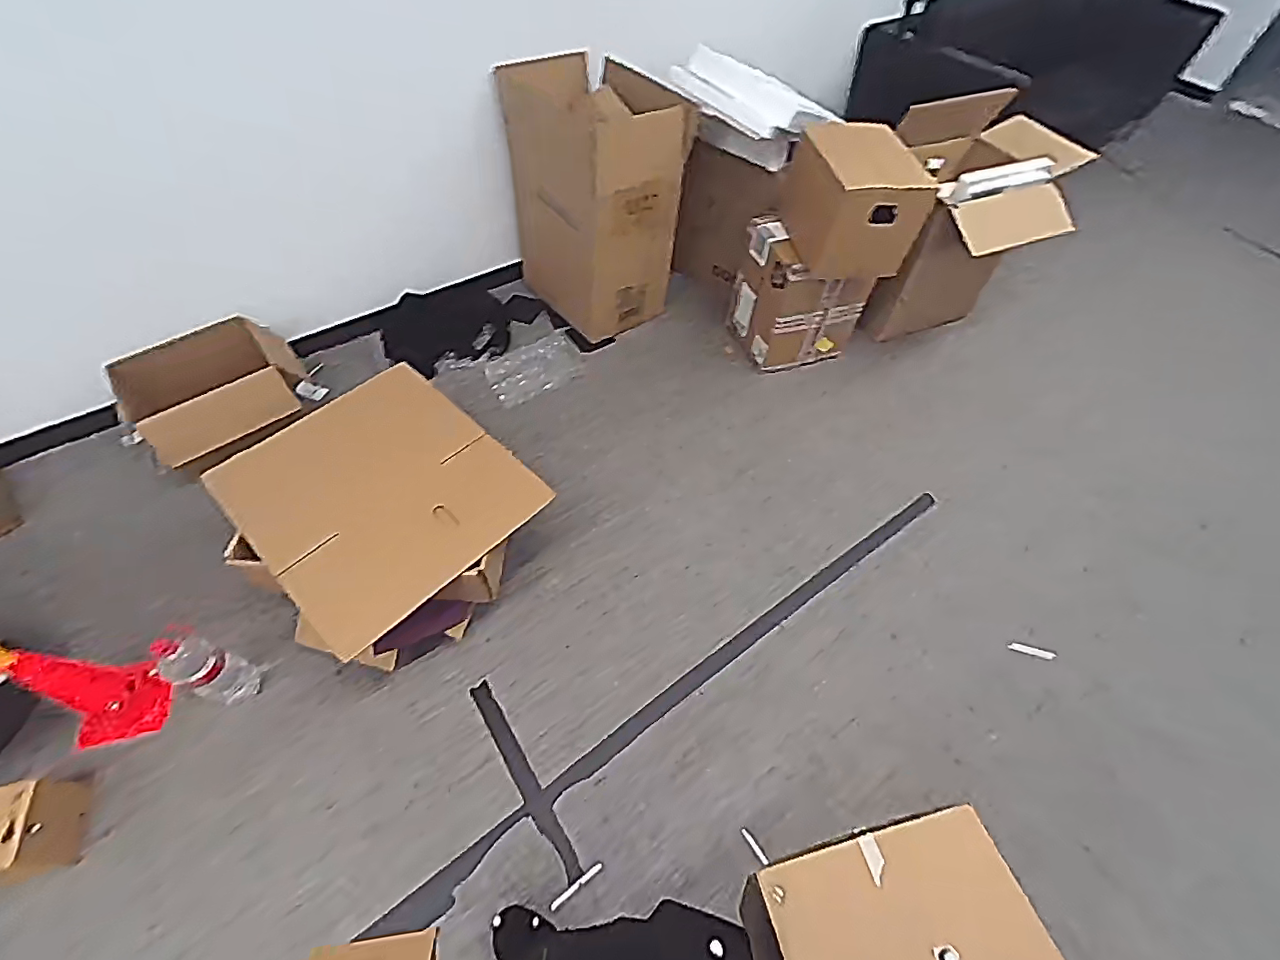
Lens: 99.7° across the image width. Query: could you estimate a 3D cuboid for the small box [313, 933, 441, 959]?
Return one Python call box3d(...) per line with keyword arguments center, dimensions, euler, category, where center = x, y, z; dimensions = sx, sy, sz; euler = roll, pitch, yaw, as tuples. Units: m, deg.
box3d(center=(-0.341, 0.716, 0.658), dimensions=(0.168, 0.179, 0.176), euler=(1, 88, -11), category="small box")
